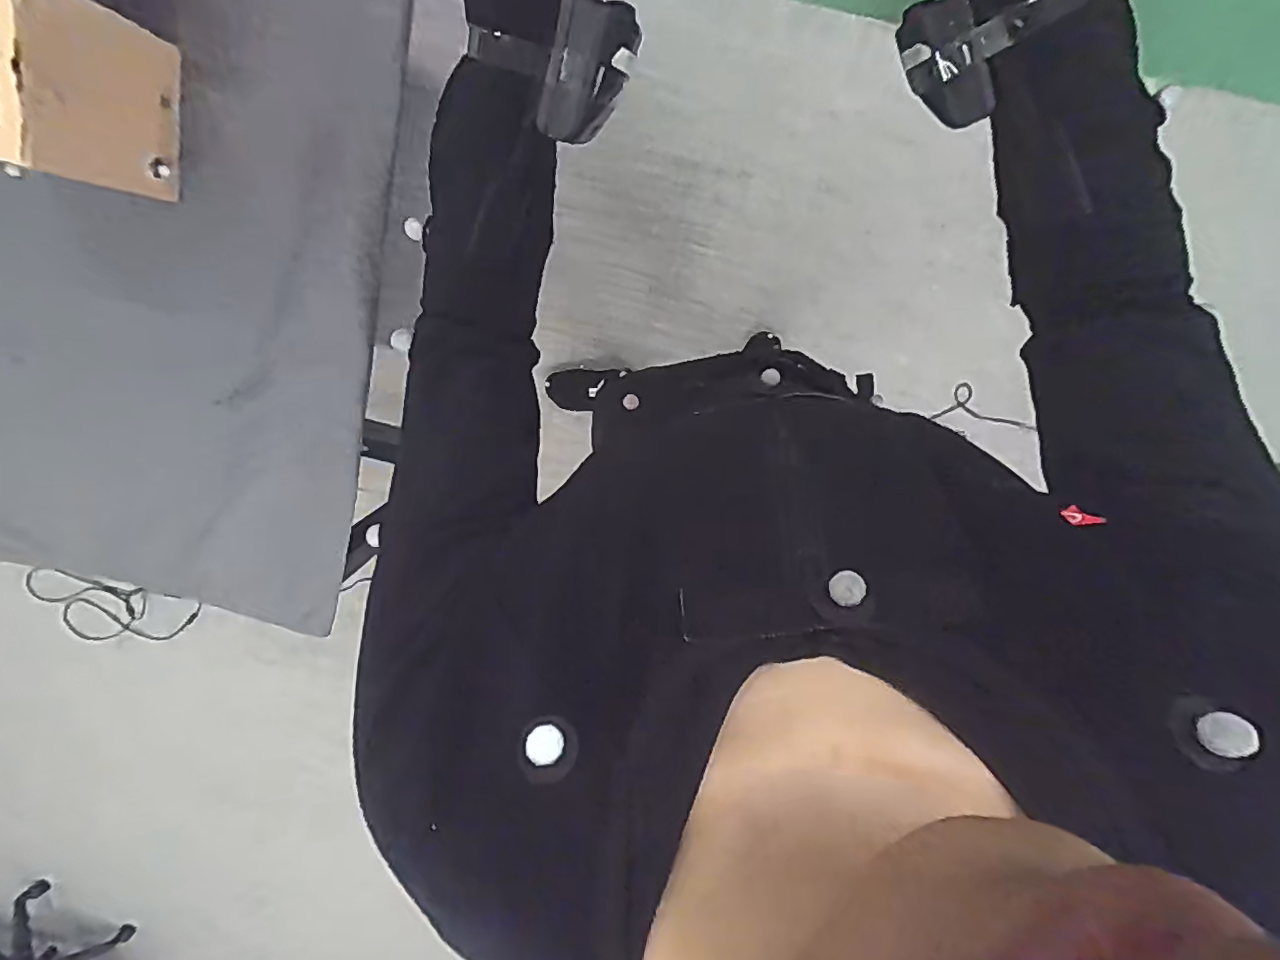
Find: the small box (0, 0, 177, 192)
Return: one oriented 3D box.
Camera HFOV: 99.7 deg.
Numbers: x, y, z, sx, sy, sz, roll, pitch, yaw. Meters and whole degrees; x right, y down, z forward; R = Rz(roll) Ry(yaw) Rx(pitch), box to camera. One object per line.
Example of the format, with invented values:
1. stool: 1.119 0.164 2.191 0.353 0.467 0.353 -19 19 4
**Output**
1. small box: -0.623 -0.414 0.551 0.179 0.176 0.168 16 107 -1
